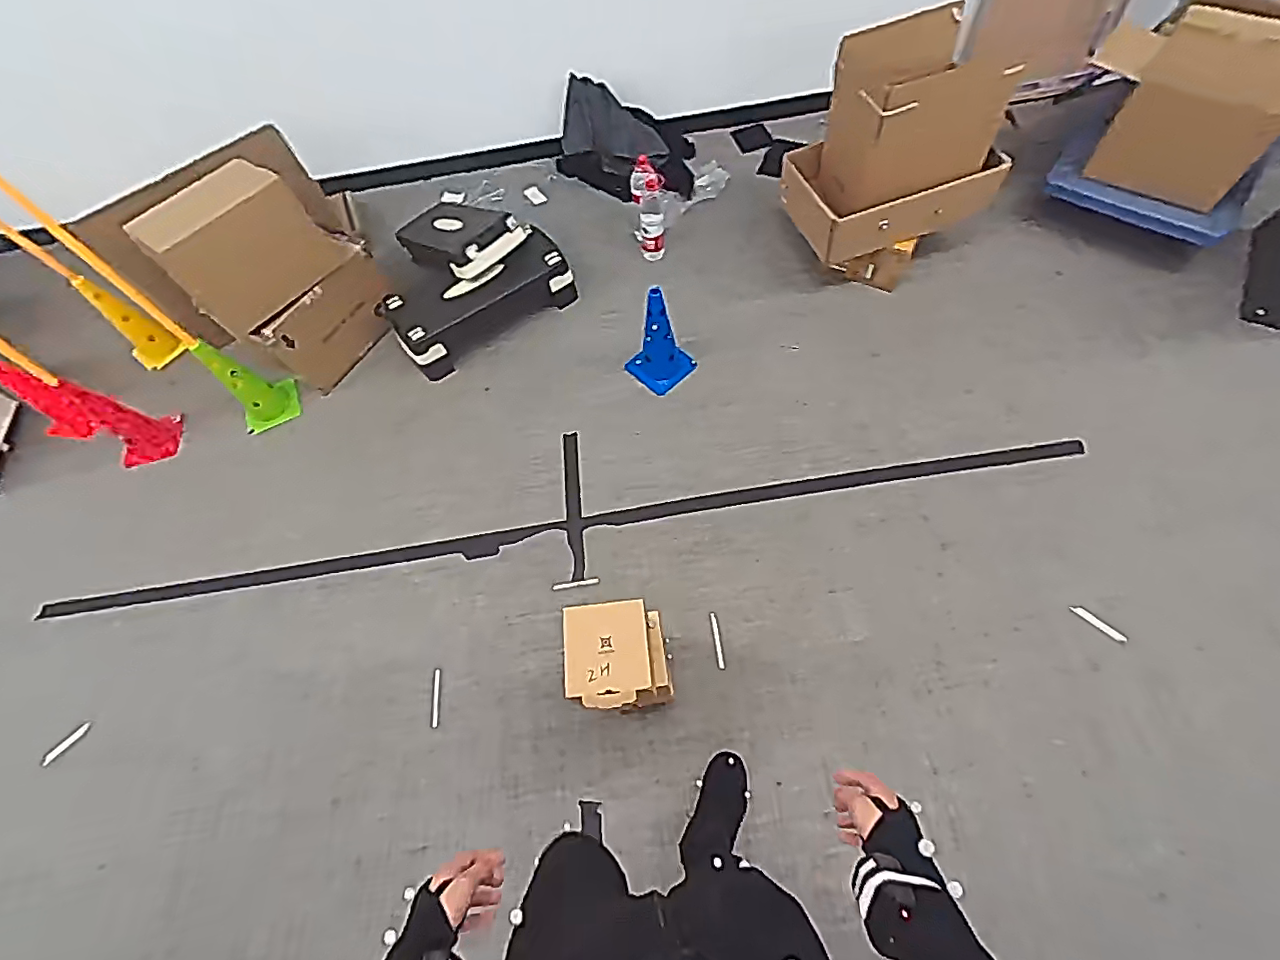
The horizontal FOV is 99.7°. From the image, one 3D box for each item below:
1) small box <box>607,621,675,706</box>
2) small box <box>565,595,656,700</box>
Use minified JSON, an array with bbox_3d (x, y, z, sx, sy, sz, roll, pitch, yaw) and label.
[{"bbox_3d":[-0.005,0.486,1.416,0.168,0.176,0.179,-11,63,0],"label":"small box"},{"bbox_3d":[-0.059,0.350,1.119,0.168,0.176,0.179,-6,63,2],"label":"small box"}]
